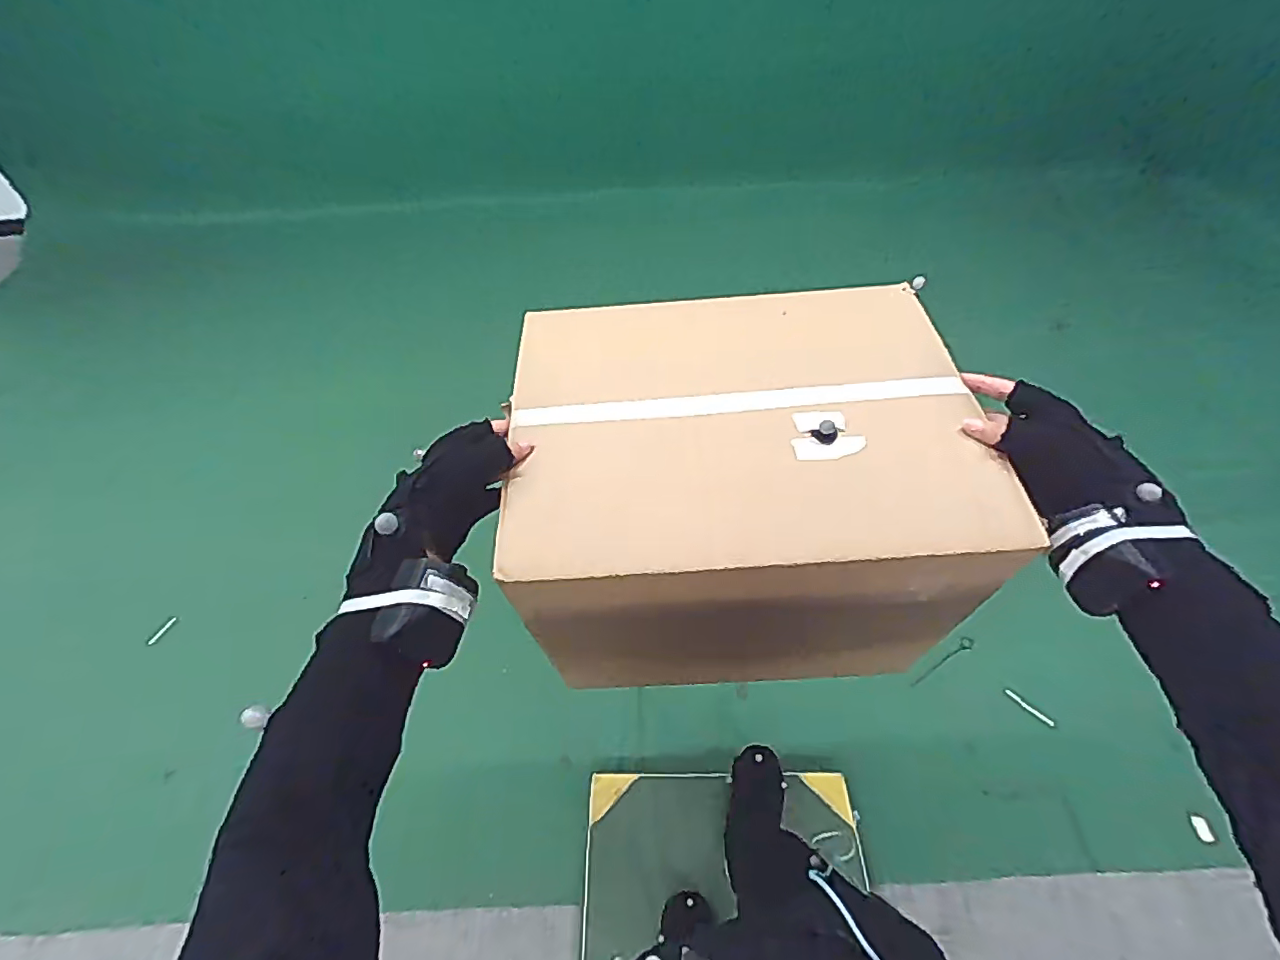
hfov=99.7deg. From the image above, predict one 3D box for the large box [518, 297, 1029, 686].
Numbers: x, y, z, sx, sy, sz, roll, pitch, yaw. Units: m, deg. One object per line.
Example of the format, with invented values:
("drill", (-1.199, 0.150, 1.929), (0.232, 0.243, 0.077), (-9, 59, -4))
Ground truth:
("large box", (0.100, 0.026, 0.619), (0.408, 0.320, 0.320), (-4, 55, 1))
